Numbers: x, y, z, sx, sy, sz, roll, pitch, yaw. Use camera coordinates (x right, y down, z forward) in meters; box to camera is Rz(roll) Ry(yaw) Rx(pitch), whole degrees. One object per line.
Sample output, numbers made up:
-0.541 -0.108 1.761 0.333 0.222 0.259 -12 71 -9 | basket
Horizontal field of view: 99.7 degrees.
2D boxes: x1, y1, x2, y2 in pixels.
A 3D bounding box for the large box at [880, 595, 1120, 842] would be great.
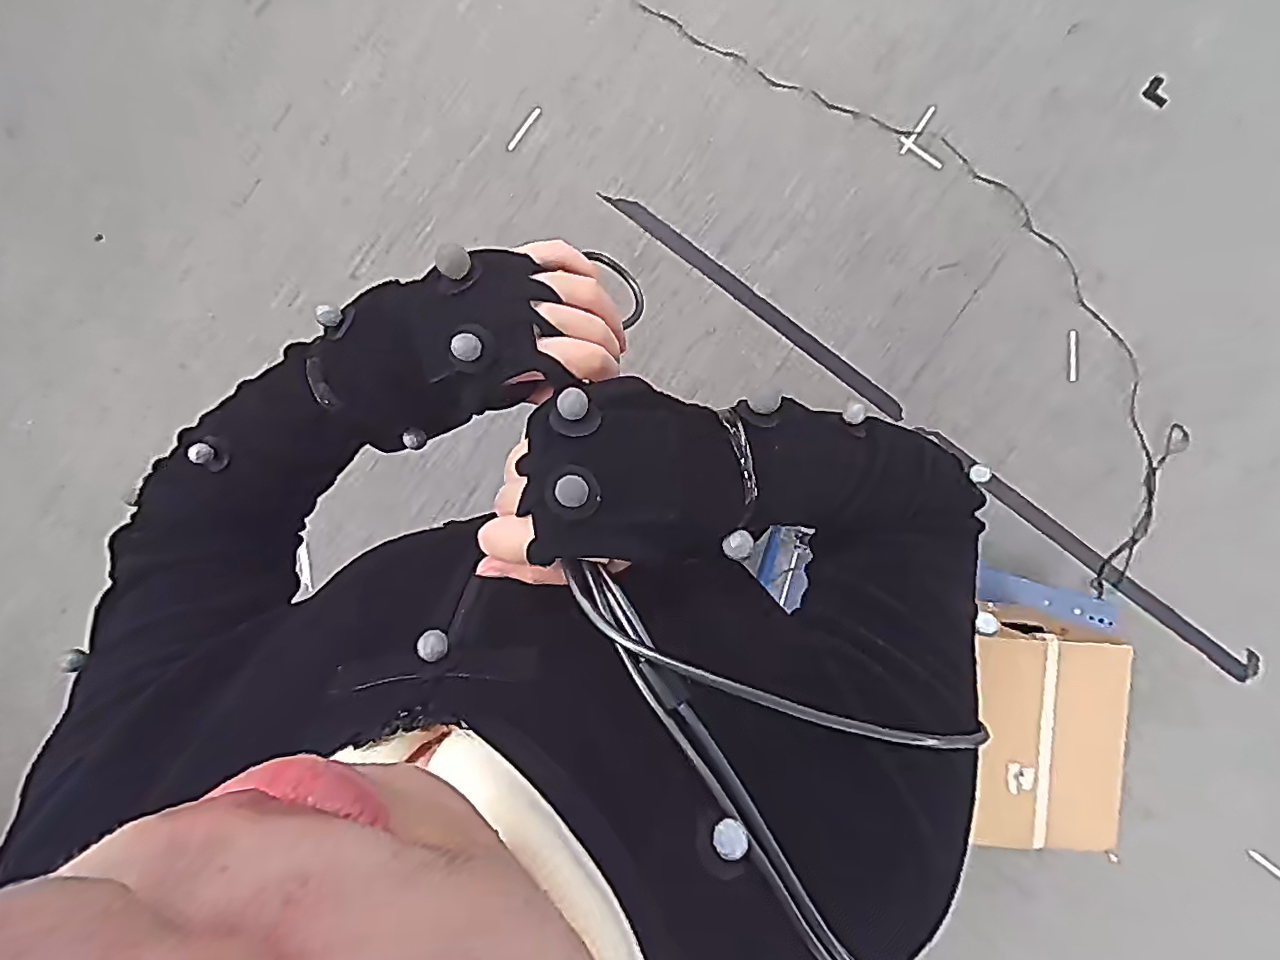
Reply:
0.751 0.486 1.181 0.320 0.320 0.408 4 92 1 | large box
